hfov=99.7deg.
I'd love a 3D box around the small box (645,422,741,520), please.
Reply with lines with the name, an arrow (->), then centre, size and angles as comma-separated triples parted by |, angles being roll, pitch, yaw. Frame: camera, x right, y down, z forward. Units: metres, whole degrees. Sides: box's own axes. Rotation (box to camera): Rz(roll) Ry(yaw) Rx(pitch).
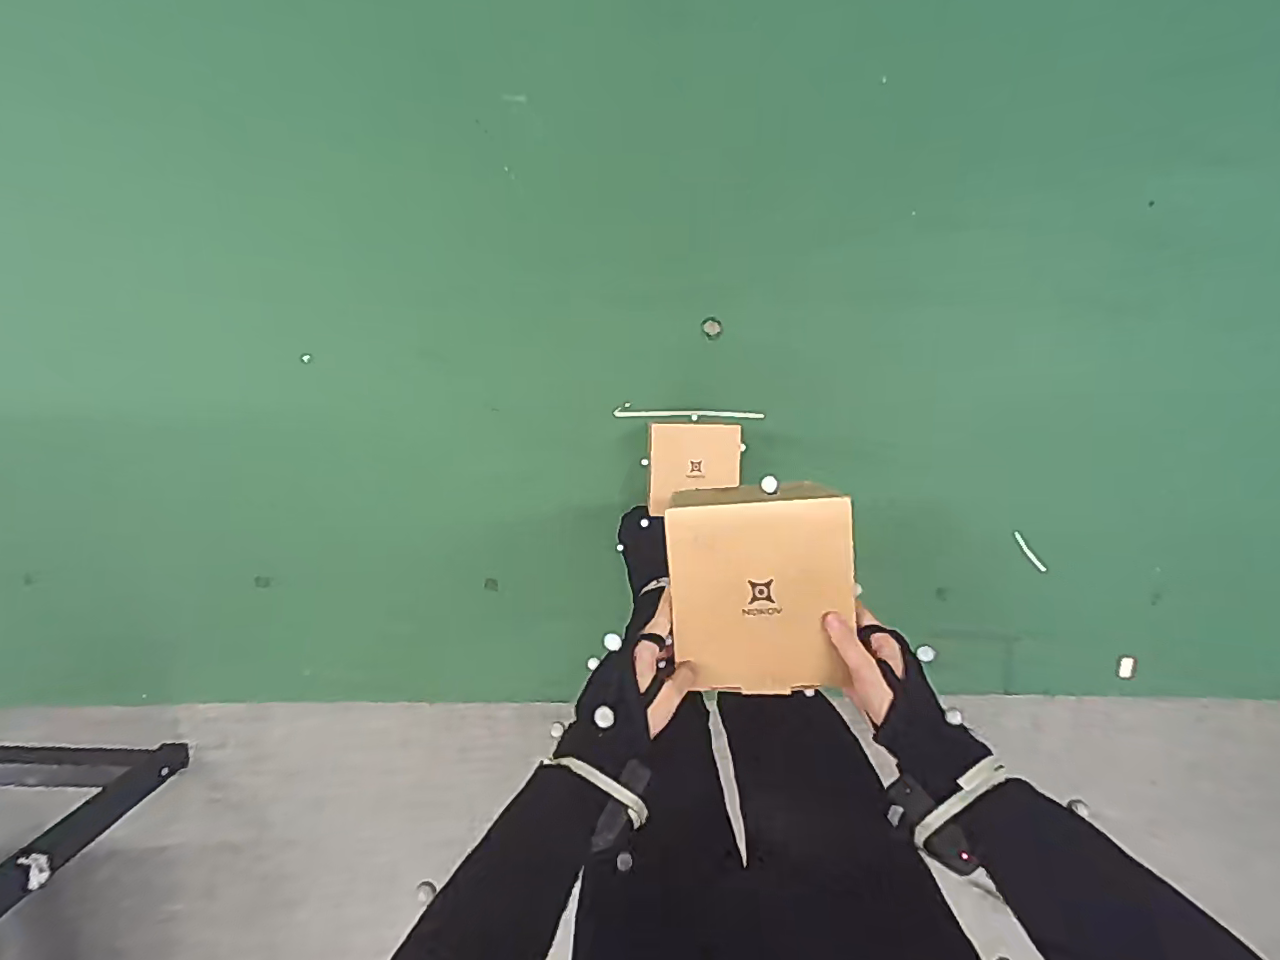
small box -> 0.097, -0.025, 1.068 | 0.168, 0.176, 0.179 | 2, 98, -2
